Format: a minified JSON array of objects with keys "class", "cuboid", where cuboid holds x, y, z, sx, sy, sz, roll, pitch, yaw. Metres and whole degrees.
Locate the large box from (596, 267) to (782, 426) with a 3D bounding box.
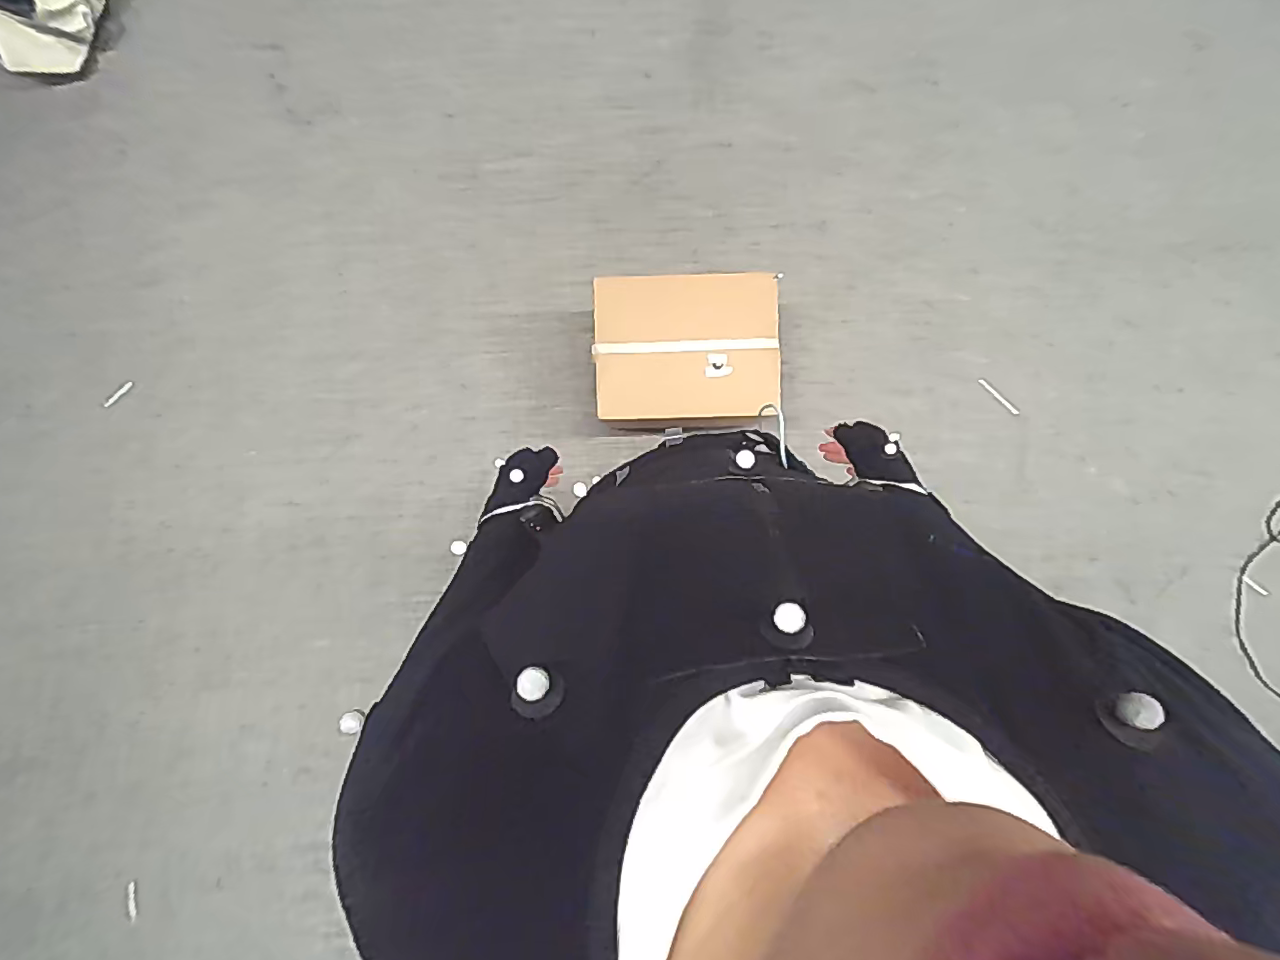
[{"class":"large box","cuboid":[0.106,-0.305,1.326,0.408,0.320,0.320,-2,92,0]}]
